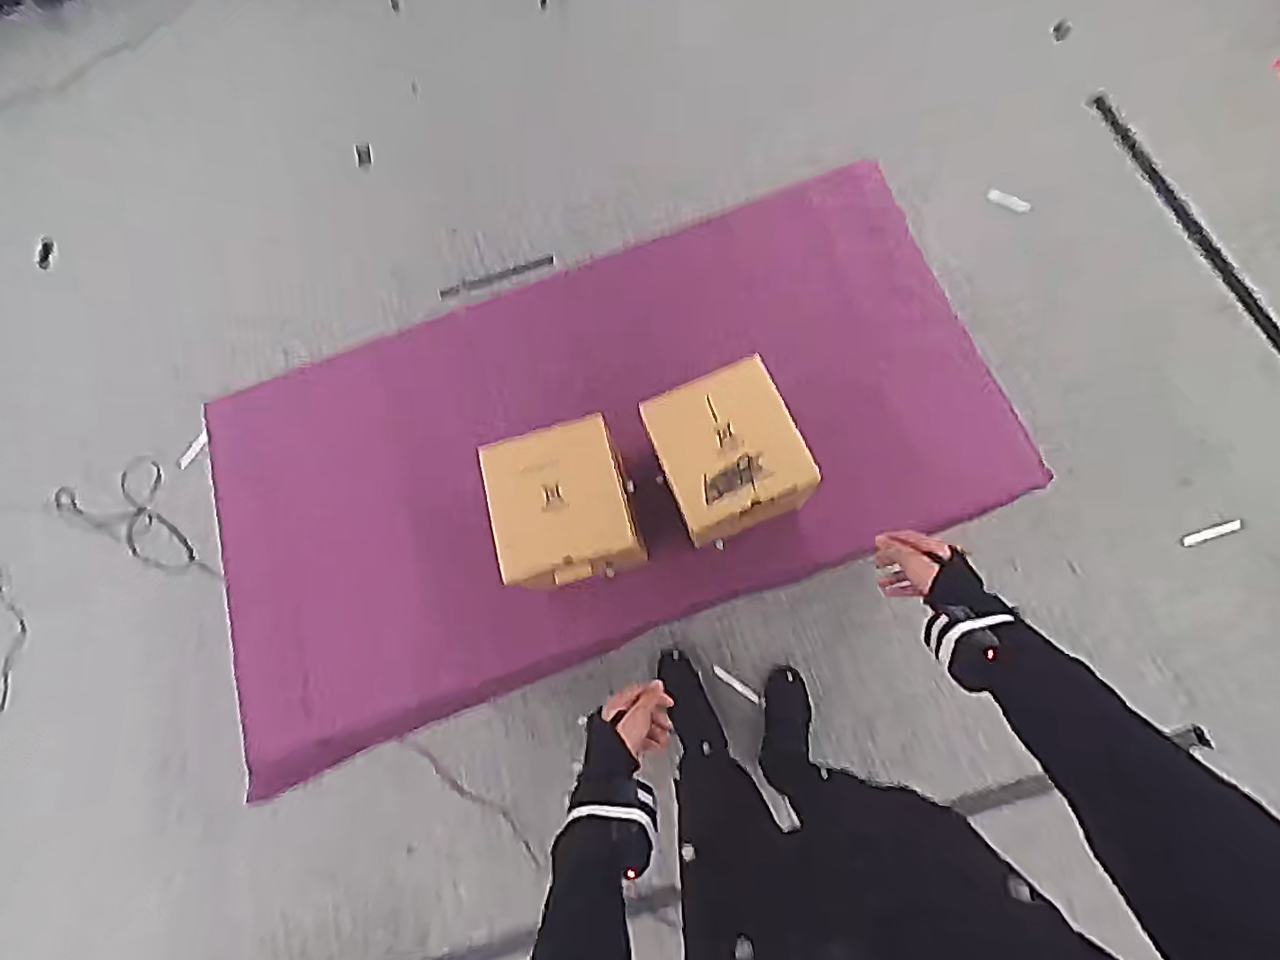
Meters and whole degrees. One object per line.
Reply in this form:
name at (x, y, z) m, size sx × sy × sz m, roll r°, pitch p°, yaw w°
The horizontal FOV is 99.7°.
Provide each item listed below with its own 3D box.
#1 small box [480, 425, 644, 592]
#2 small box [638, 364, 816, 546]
small box at (-0.097, 0.050, 0.738) m, size 0.168 × 0.176 × 0.179 m, roll -16°, pitch 74°, yaw 2°
small box at (0.112, -0.020, 0.730) m, size 0.168 × 0.176 × 0.179 m, roll -23°, pitch 73°, yaw 0°
